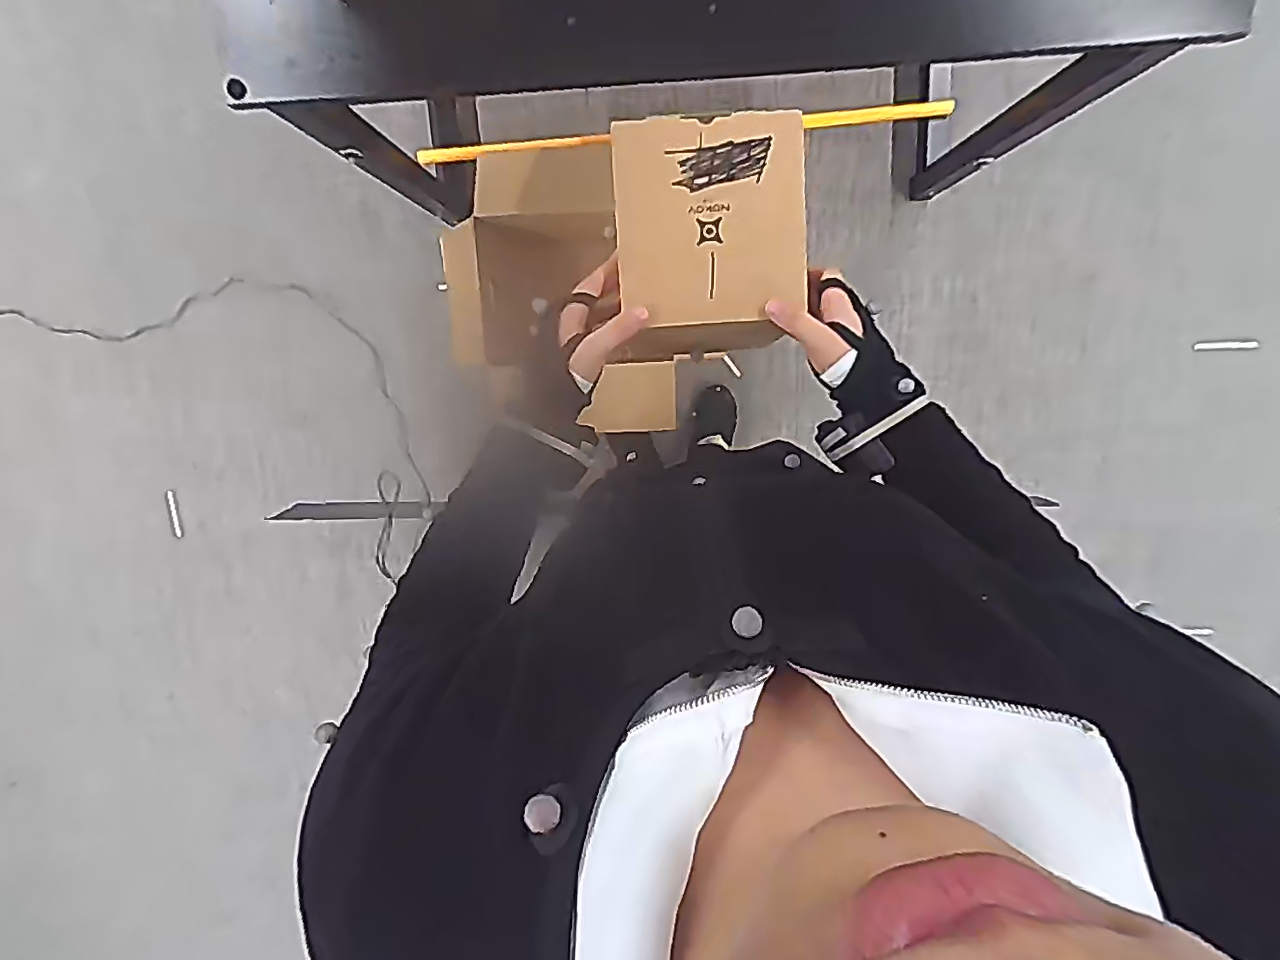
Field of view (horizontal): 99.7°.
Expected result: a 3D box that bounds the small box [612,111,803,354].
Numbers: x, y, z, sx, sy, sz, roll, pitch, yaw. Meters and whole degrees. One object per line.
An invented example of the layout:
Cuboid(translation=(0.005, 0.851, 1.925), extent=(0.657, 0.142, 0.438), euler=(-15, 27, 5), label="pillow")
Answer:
Cuboid(translation=(0.060, -0.234, 0.552), extent=(0.168, 0.176, 0.179), euler=(-3, 94, 1), label="small box")
